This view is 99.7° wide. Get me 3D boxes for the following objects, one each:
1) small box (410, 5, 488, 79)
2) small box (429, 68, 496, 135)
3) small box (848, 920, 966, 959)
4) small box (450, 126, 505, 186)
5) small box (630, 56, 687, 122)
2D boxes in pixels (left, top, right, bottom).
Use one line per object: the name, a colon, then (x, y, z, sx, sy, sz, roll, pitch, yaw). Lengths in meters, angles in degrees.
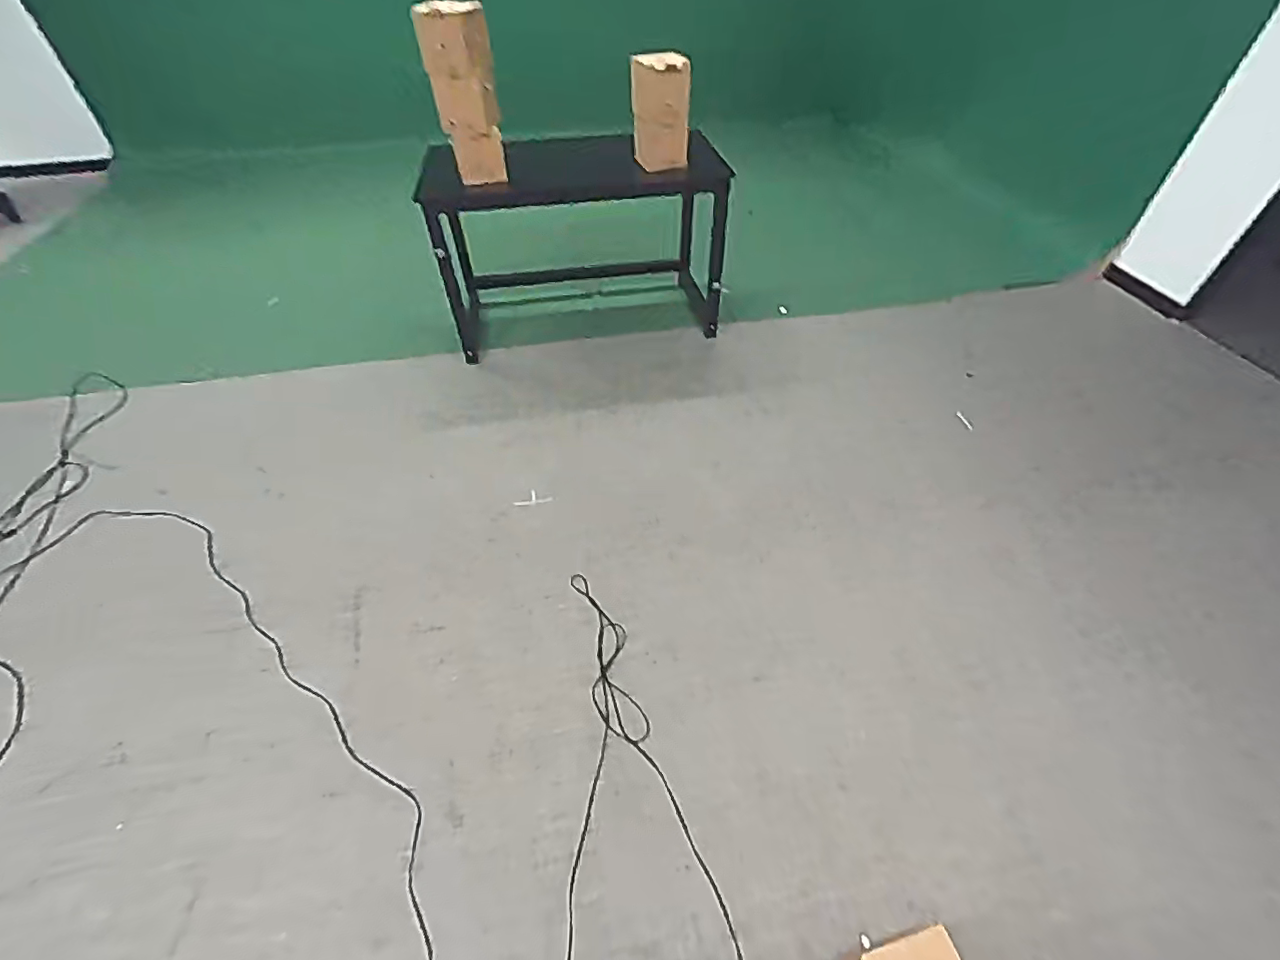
small box: (-0.626, -1.458, 1.803, 0.168, 0.176, 0.179, 11, 50, 9)
small box: (-0.621, -1.343, 1.919, 0.168, 0.176, 0.179, 2, 47, 2)
small box: (0.506, 0.945, 0.995, 0.179, 0.176, 0.168, -11, 49, -10)
small box: (-0.616, -1.232, 2.041, 0.168, 0.176, 0.179, -14, 50, -12)
small box: (0.065, -1.439, 1.992, 0.168, 0.176, 0.179, -14, 48, -11)
